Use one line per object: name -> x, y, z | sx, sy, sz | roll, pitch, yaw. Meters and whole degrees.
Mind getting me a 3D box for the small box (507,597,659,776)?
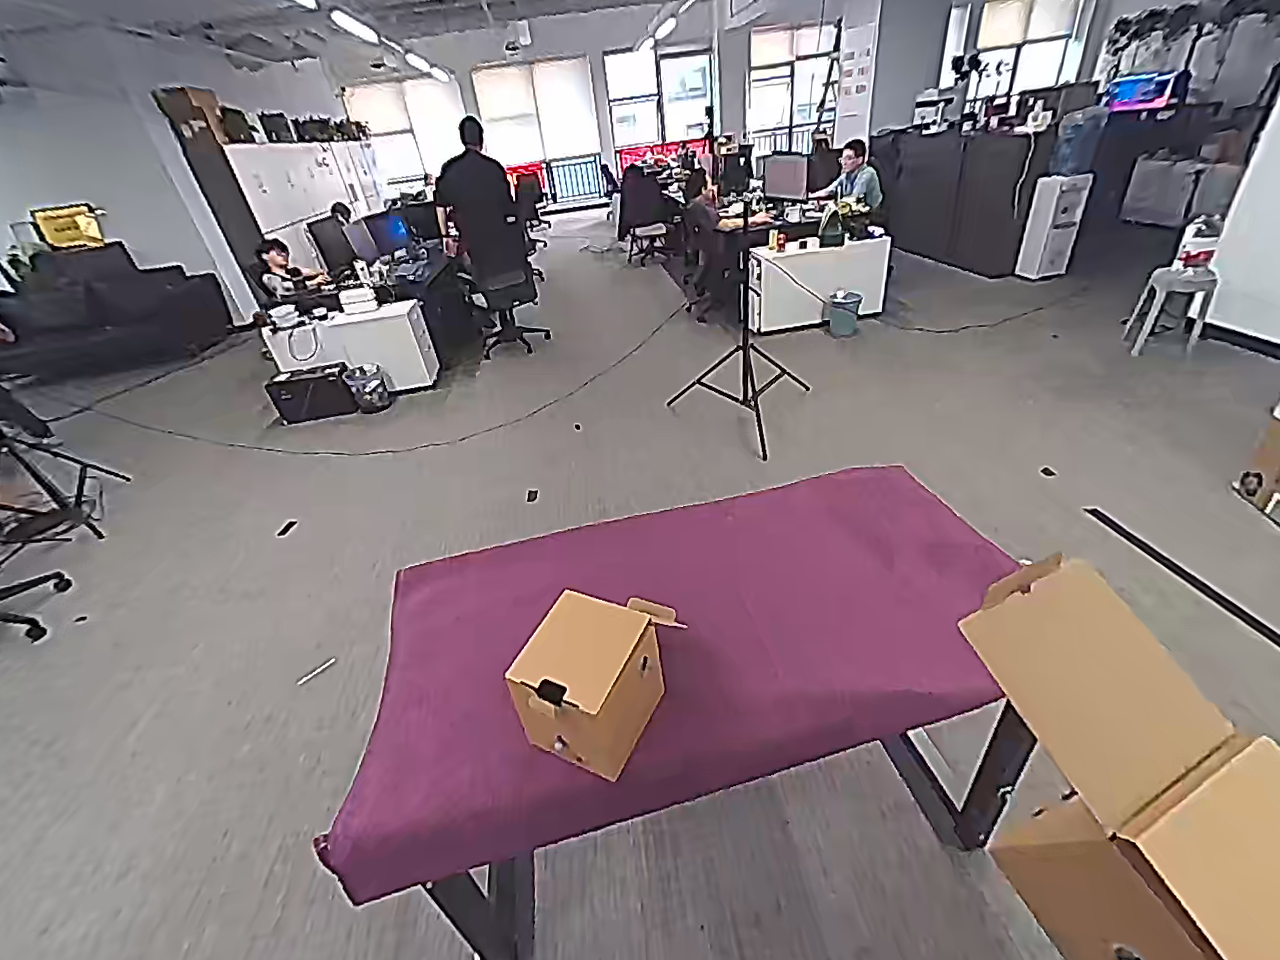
small box -> -0.079, 0.324, 0.864 | 0.168, 0.176, 0.179 | 10, 36, 28
